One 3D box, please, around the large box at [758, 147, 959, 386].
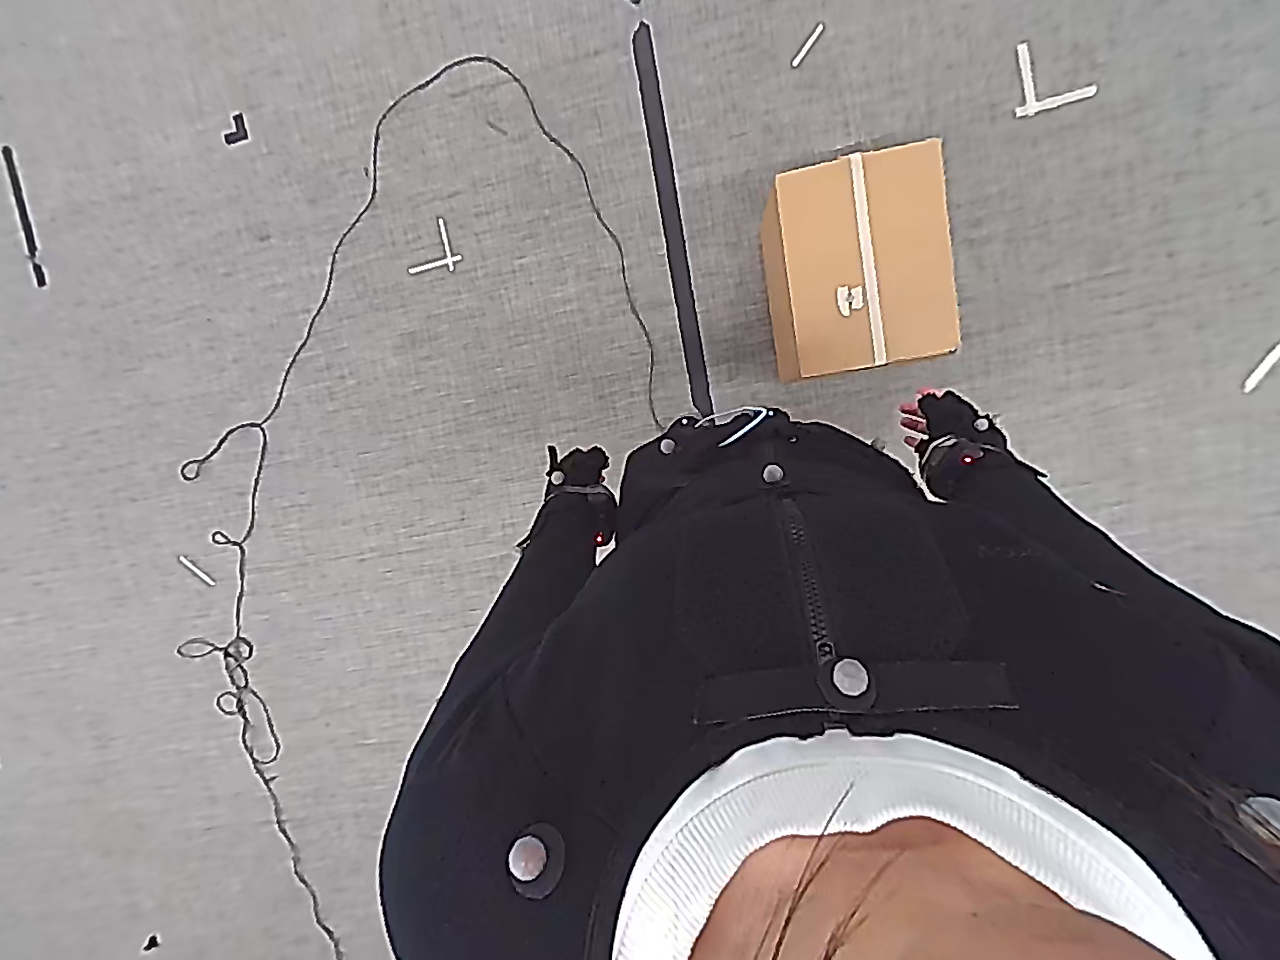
[{"bbox_3d":[0.466,-0.442,1.220,0.320,0.320,0.408,-9,96,9],"label":"large box"}]
